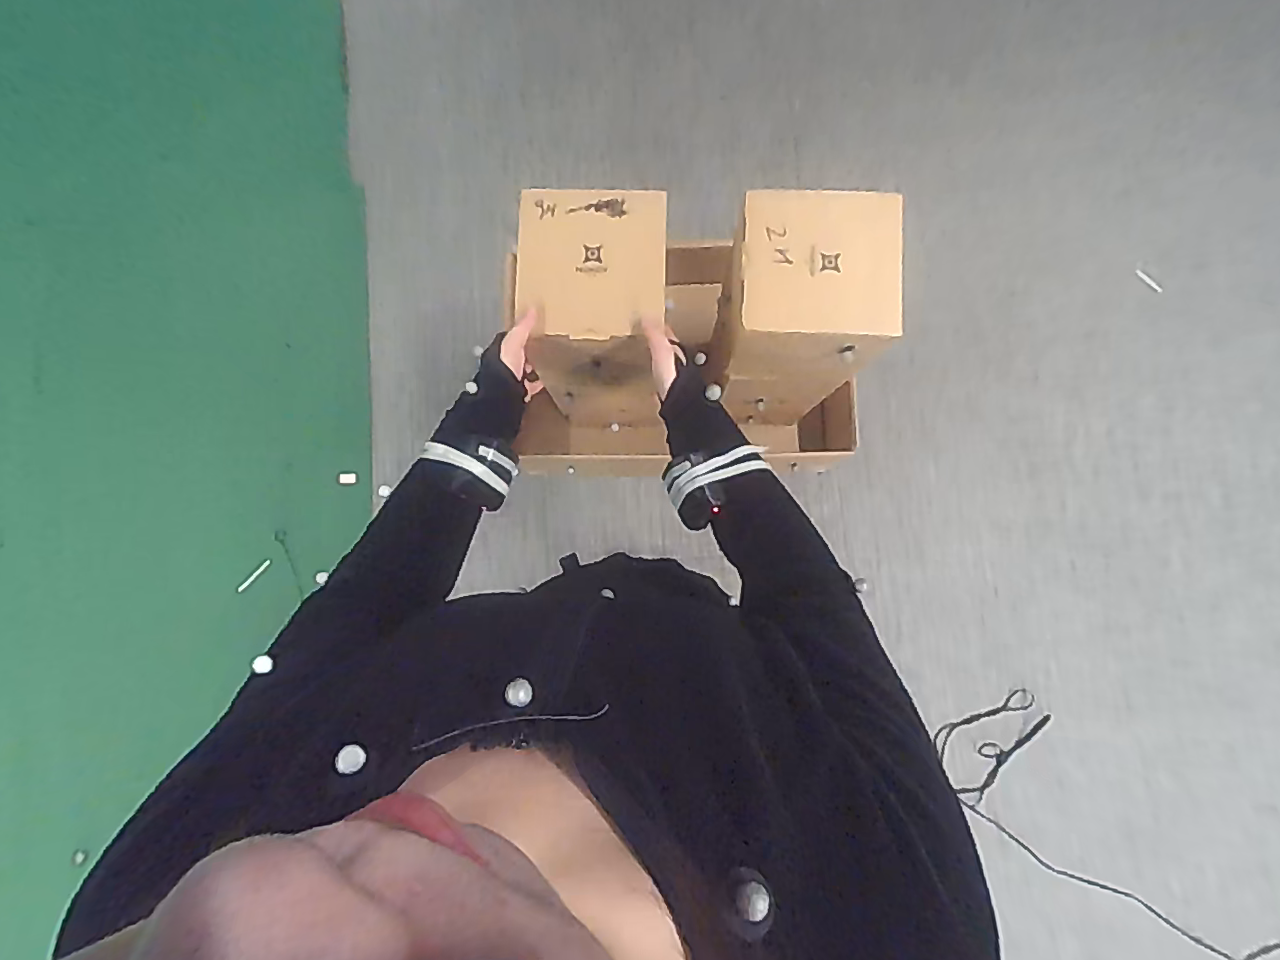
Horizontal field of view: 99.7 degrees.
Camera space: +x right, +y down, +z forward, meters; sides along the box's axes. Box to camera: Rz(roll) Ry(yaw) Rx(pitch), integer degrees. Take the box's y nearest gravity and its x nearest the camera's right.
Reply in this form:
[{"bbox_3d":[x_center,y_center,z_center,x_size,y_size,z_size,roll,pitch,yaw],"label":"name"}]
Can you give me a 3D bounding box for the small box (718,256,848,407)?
[{"bbox_3d":[0.210,-0.220,0.833,0.168,0.176,0.179,2,85,3],"label":"small box"}]
